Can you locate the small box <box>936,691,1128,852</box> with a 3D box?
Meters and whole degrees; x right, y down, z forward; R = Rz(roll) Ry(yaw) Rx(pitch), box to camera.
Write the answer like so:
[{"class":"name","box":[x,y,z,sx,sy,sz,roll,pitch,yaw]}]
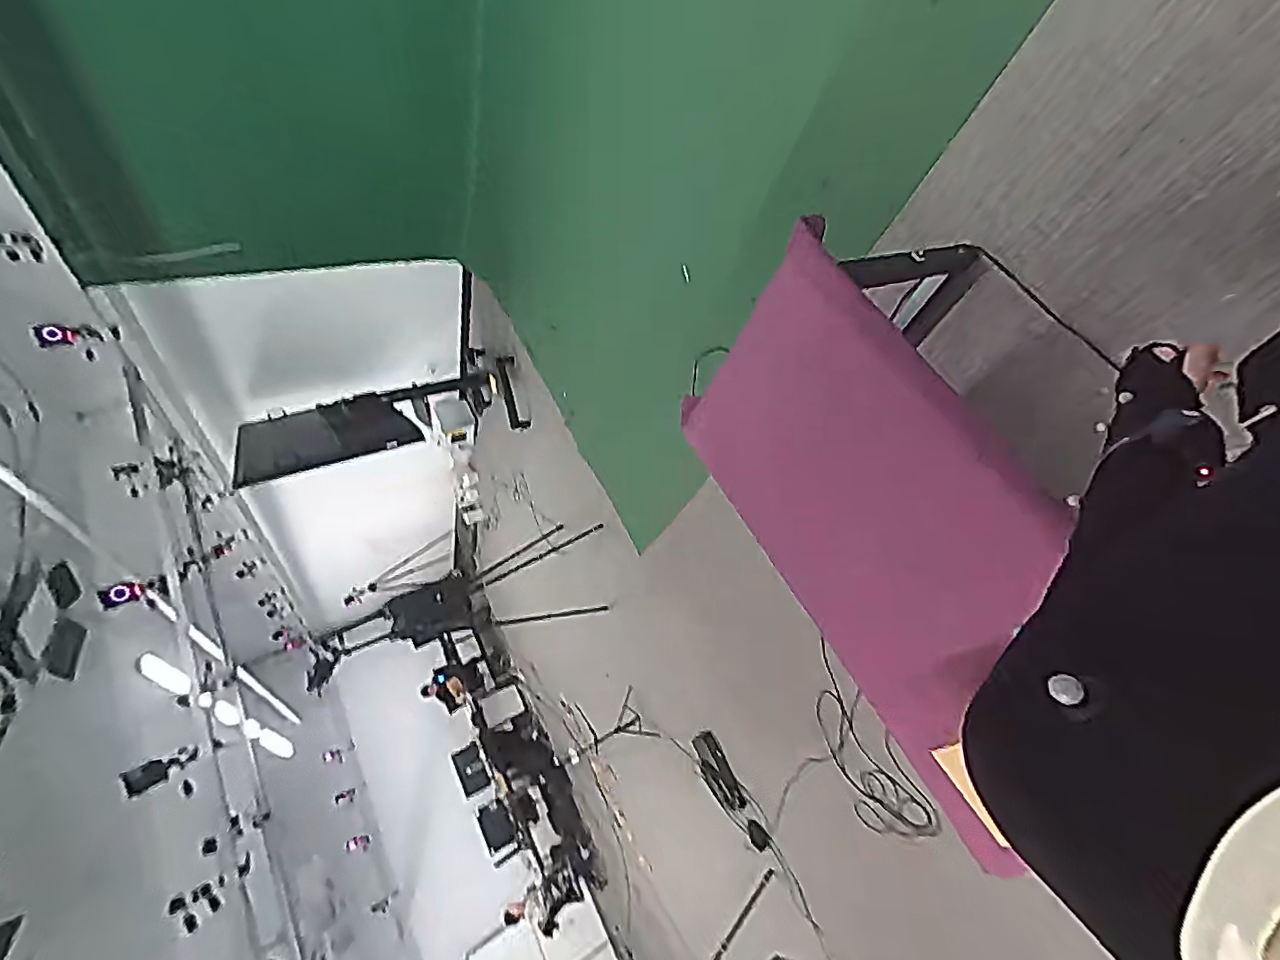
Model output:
[{"class":"small box","box":[0.649,0.479,0.896,0.168,0.176,0.179,57,148,25]}]
